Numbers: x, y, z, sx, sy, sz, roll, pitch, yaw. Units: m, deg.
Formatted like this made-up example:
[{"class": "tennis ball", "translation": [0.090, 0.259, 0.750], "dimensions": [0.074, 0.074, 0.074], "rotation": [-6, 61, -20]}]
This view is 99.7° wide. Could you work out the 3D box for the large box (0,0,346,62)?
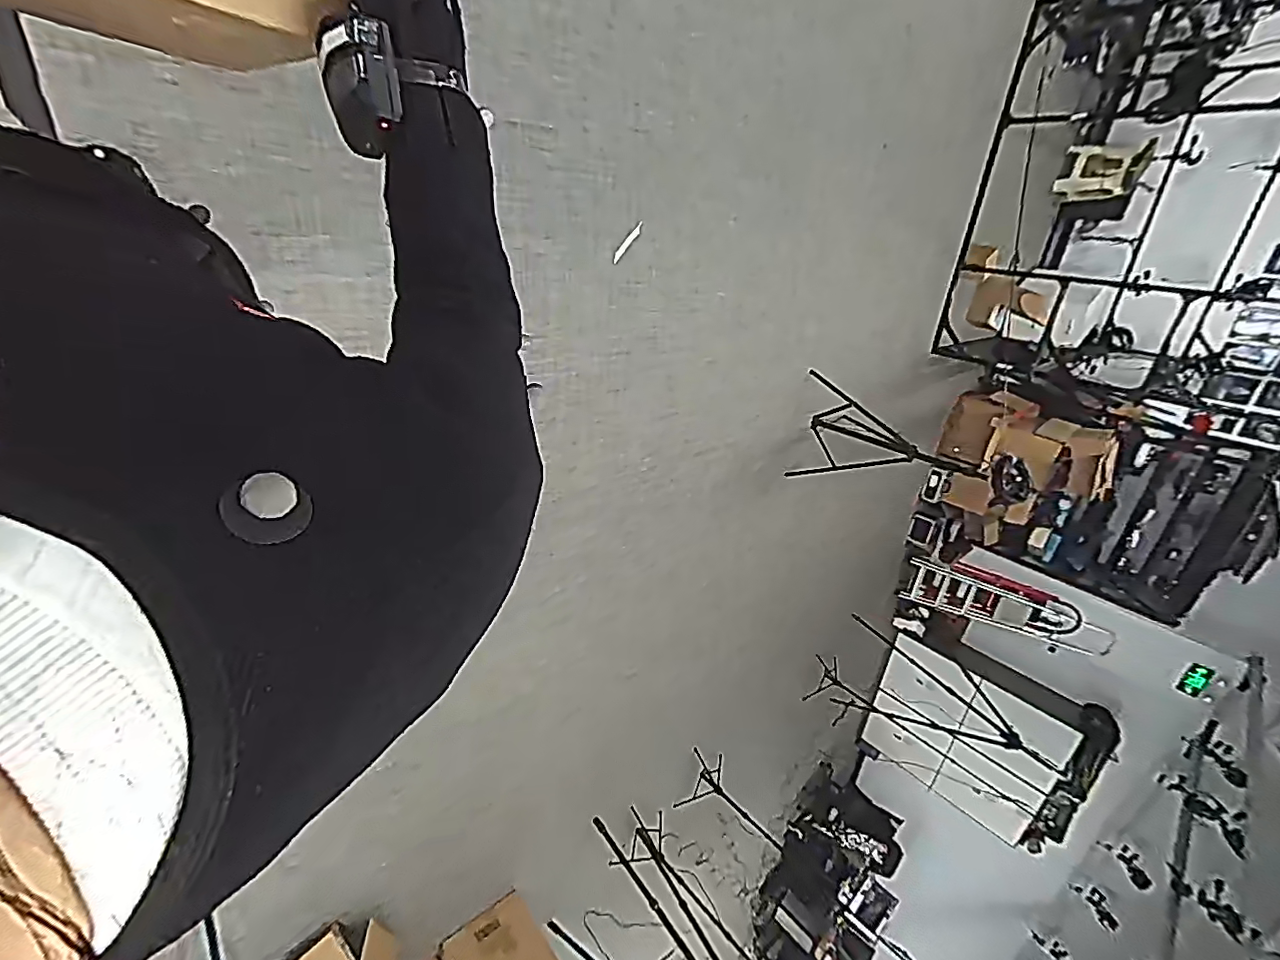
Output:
[{"class": "large box", "translation": [-0.420, -0.456, 0.260], "dimensions": [0.408, 0.320, 0.320], "rotation": [-15, 126, -43]}]
